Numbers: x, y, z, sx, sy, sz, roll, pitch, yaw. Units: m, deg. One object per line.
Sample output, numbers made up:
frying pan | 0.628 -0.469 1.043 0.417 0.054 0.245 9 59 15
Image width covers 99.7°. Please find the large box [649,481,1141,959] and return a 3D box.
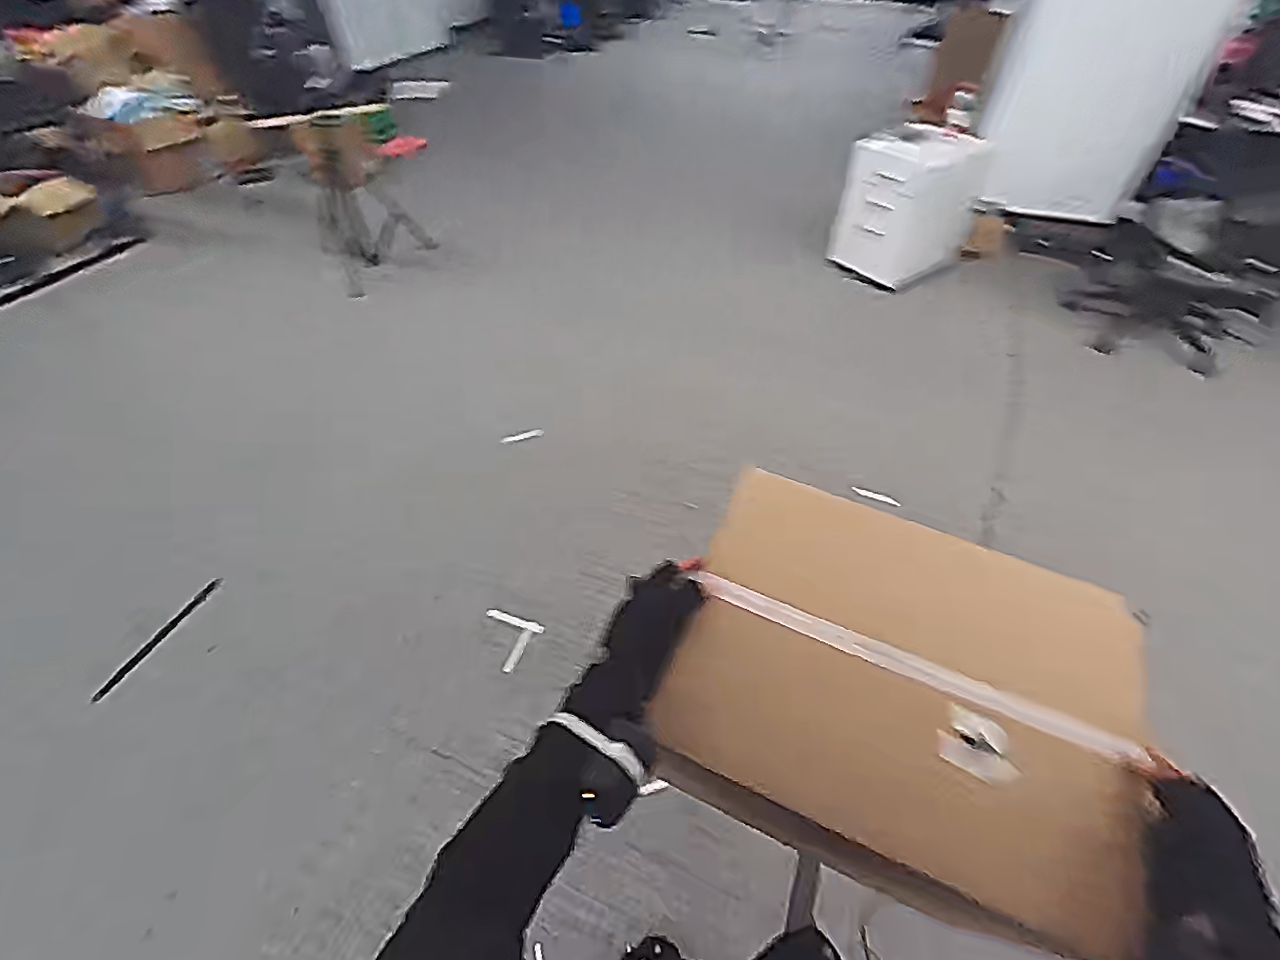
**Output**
large box | 0.250 0.262 0.641 0.408 0.320 0.320 21 61 13
